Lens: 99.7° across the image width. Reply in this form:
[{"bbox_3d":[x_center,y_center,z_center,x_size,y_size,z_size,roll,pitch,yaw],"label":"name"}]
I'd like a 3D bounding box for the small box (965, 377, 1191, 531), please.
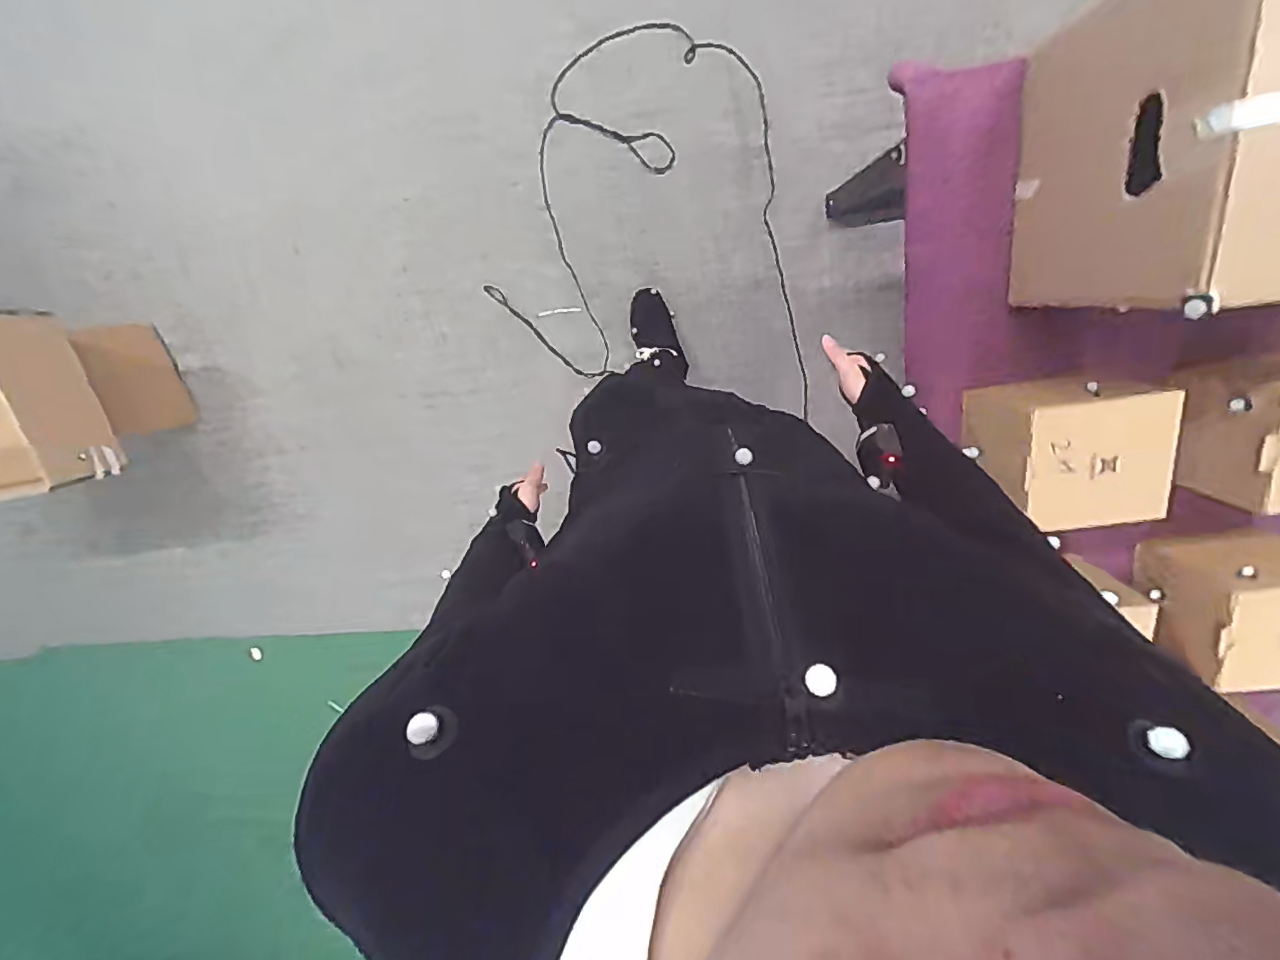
[{"bbox_3d":[0.587,-0.044,0.750,0.179,0.176,0.168,-7,106,5],"label":"small box"}]
